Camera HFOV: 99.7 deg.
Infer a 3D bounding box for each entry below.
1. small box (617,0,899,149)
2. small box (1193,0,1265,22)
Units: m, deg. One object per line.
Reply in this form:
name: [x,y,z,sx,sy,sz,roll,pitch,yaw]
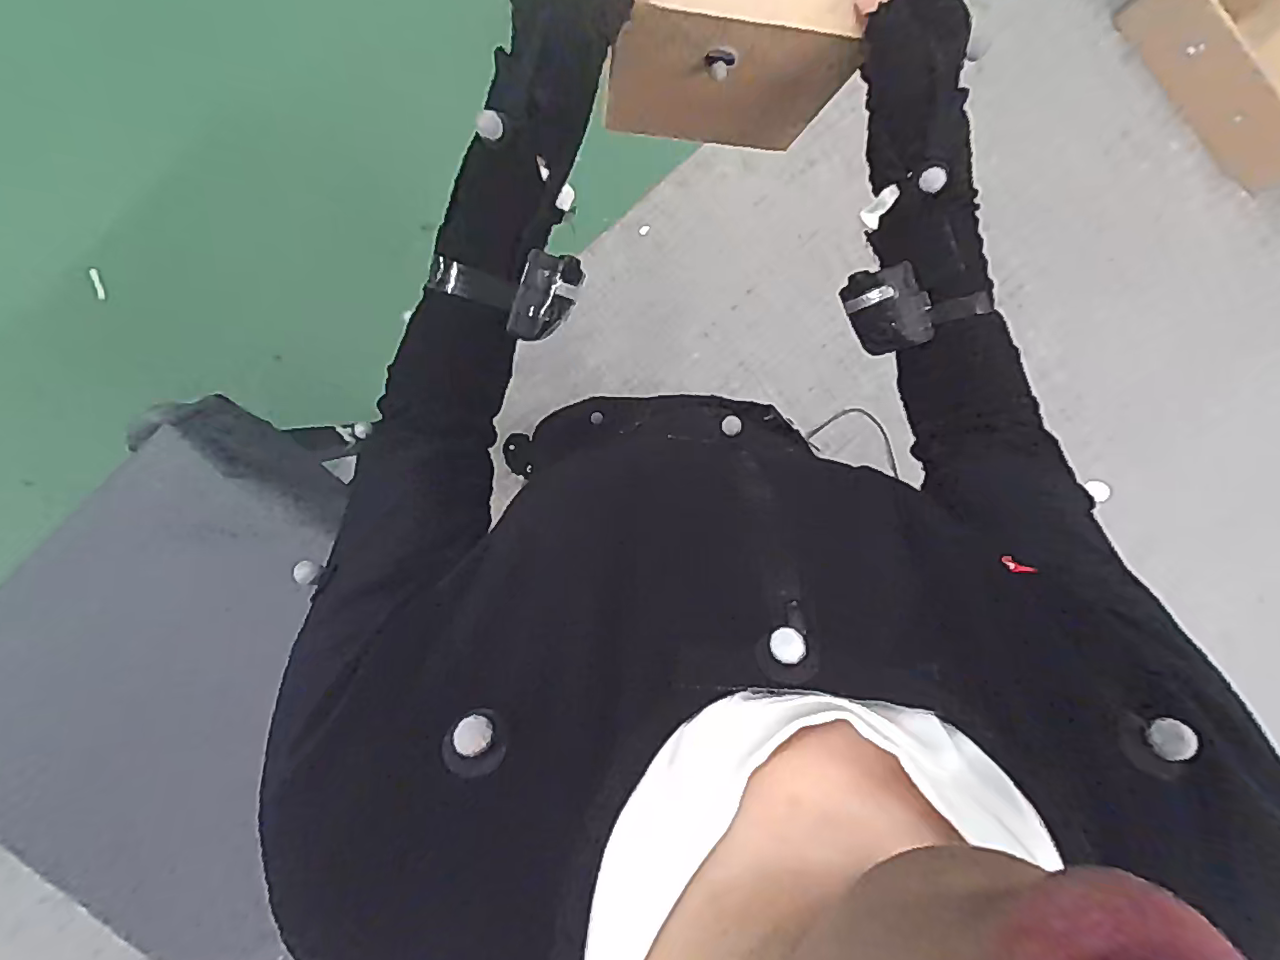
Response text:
small box: [0.078,-0.382,0.413,0.179,0.176,0.168,3,99,-9]
small box: [1.400,-1.199,1.224,0.179,0.176,0.168,39,94,-9]
